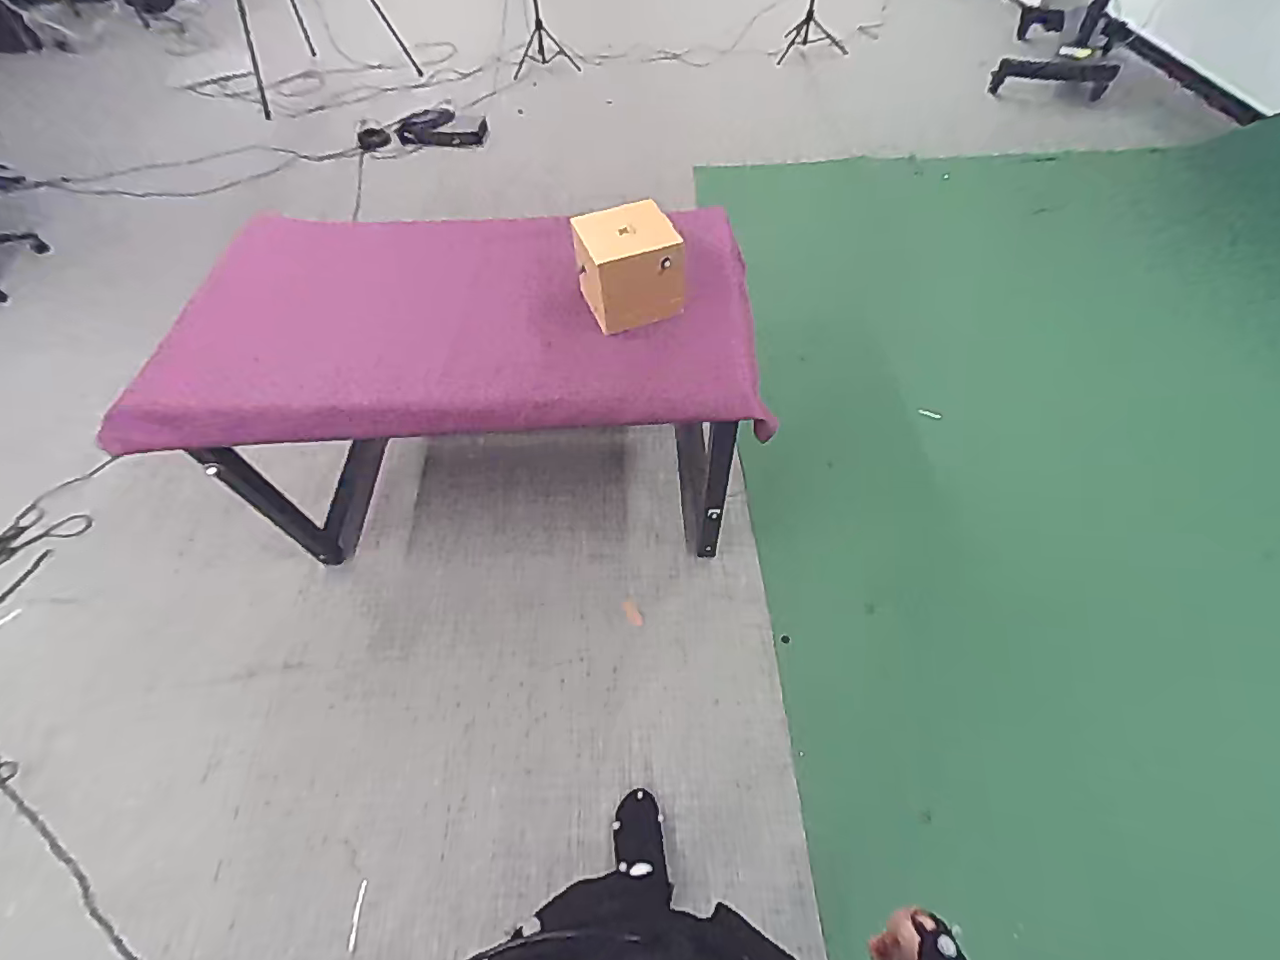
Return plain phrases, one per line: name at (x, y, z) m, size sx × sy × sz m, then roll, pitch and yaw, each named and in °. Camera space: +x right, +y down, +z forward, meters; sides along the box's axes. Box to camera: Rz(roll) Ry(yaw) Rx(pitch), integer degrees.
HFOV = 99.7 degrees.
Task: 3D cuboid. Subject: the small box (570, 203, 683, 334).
small box at (-0.025, -0.420, 1.086) m, size 0.179 × 0.176 × 0.168 m, roll -18°, pitch 57°, yaw -11°
